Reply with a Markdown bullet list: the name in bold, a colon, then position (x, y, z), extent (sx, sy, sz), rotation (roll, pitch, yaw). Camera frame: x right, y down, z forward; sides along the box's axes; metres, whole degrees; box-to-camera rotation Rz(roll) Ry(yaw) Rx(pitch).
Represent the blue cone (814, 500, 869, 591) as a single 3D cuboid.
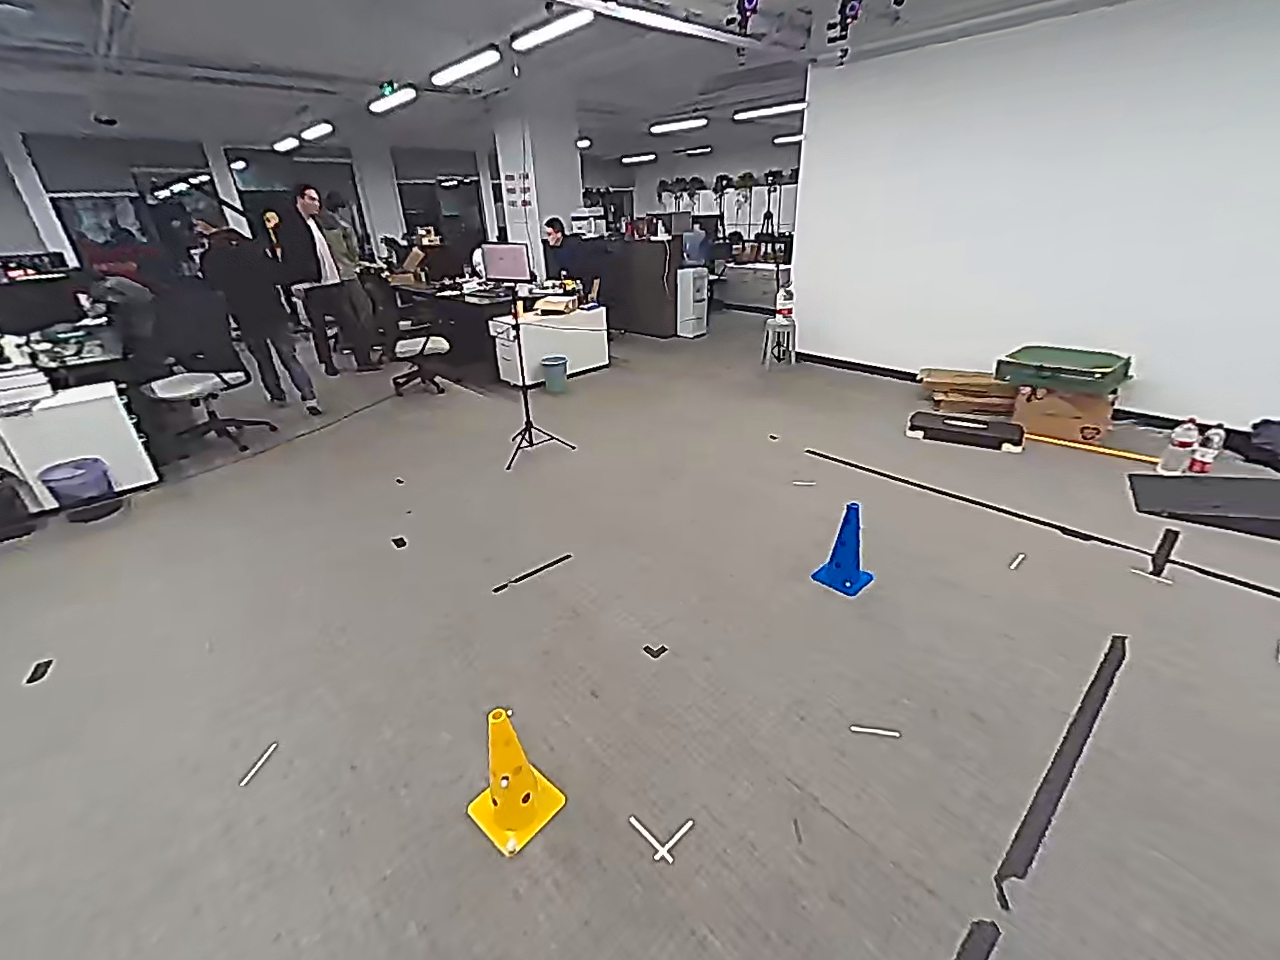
- **blue cone**: position (0.855, 0.259, 2.238), extent (0.193, 0.380, 0.192), rotation (-23, 32, -35)
